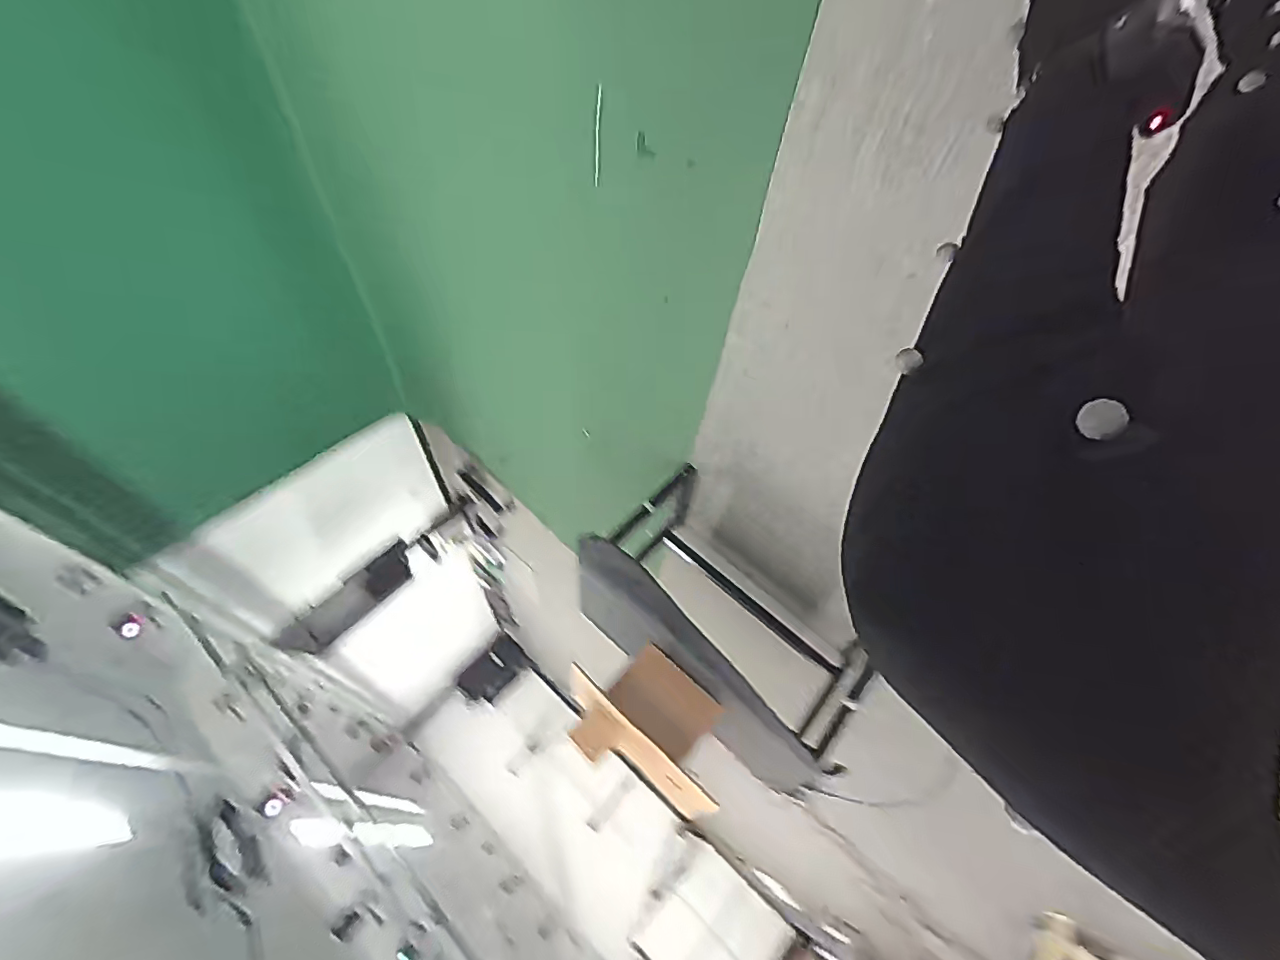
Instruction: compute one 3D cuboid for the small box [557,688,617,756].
[{"bbox_3d":[-0.204,0.943,2.106,0.168,0.176,0.179,40,152,17],"label":"small box"}]
